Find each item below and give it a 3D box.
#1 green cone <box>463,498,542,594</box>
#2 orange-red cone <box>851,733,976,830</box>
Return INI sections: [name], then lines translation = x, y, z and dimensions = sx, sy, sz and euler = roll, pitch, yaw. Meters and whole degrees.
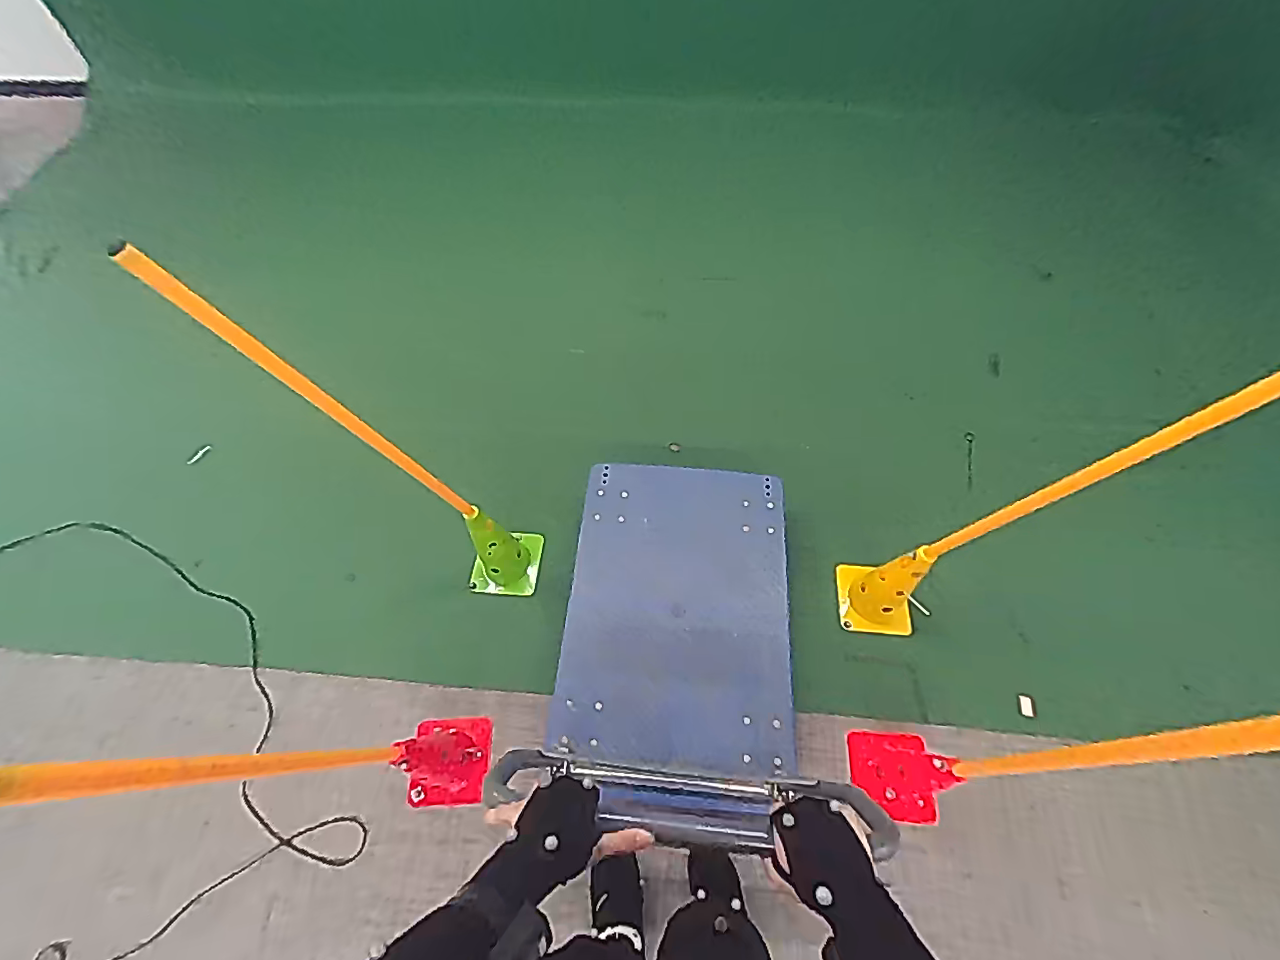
[green cone]
translation = -0.413, 0.158, 1.495
dimensions = 0.200, 0.368, 0.202
euler = 3, 59, 4
[orange-red cone]
translation = 0.626, 0.651, 1.188
dimensions = 0.198, 0.360, 0.199
euler = 4, 58, 3
